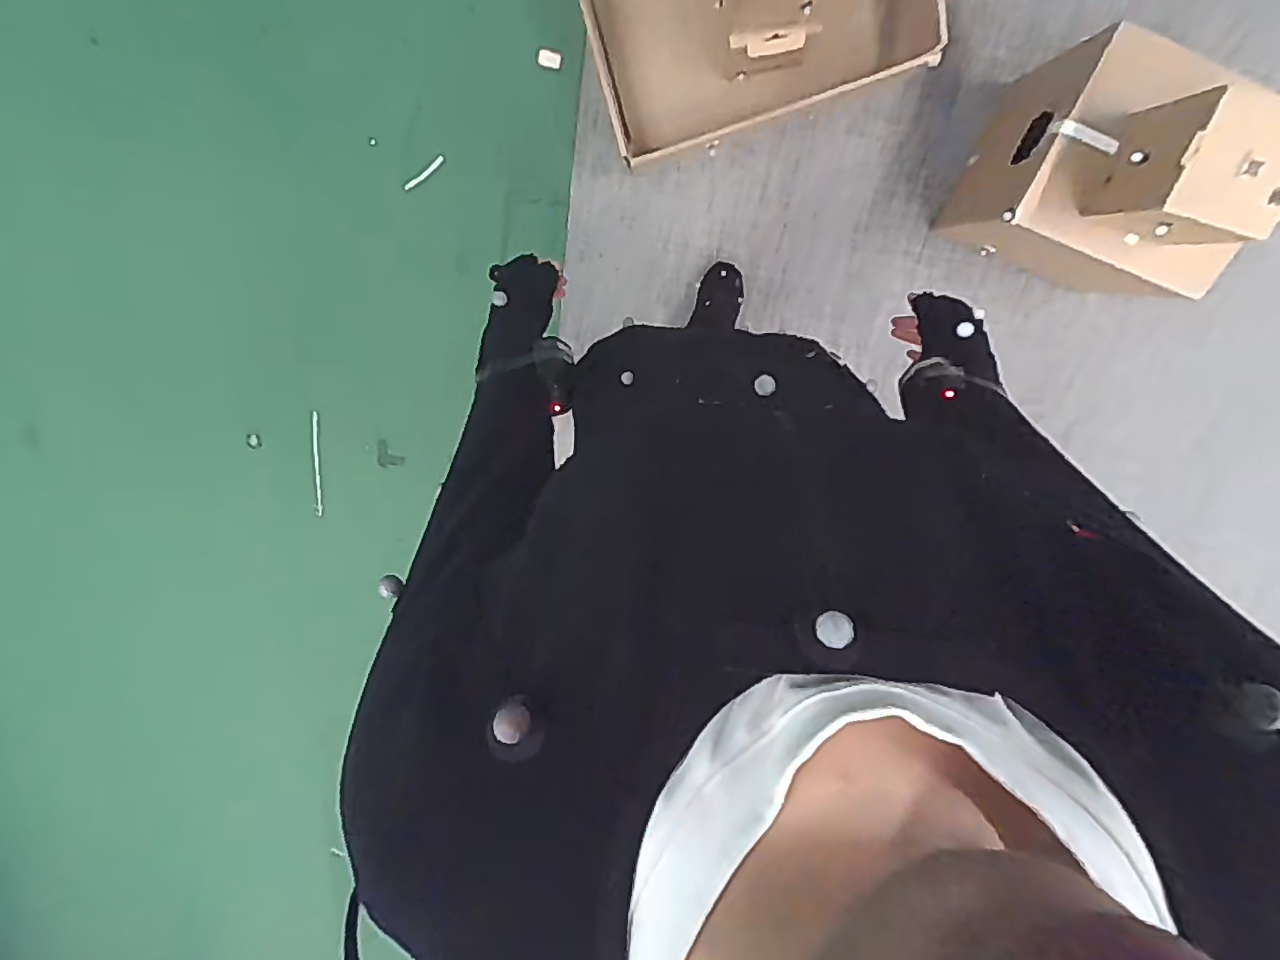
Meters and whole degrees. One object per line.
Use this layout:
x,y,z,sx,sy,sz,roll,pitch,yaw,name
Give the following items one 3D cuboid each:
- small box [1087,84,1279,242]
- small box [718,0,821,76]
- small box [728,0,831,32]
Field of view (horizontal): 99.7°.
0.873,-0.482,0.852,0.179,0.176,0.168,15,112,-2,small box
0.236,-0.892,1.013,0.168,0.176,0.179,-6,109,7,small box
0.228,-0.849,0.856,0.168,0.176,0.179,-3,108,5,small box
